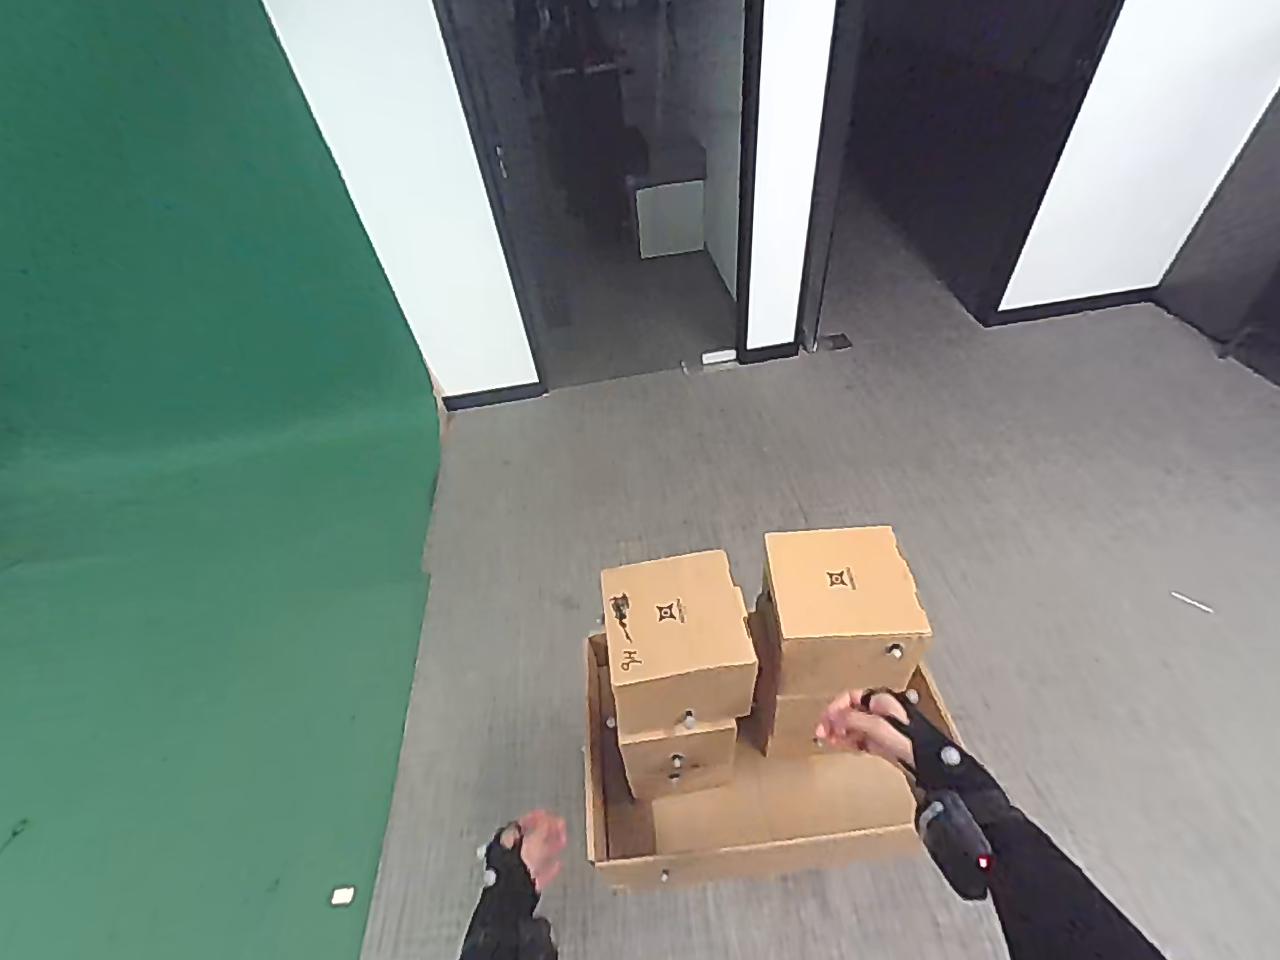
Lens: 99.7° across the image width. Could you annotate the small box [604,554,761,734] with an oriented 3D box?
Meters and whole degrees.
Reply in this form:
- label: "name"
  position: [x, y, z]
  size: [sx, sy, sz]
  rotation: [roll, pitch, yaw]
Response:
- label: "small box"
  position: [0.051, 0.225, 0.737]
  size: [0.179, 0.176, 0.168]
  rotation: [-9, 46, -2]
